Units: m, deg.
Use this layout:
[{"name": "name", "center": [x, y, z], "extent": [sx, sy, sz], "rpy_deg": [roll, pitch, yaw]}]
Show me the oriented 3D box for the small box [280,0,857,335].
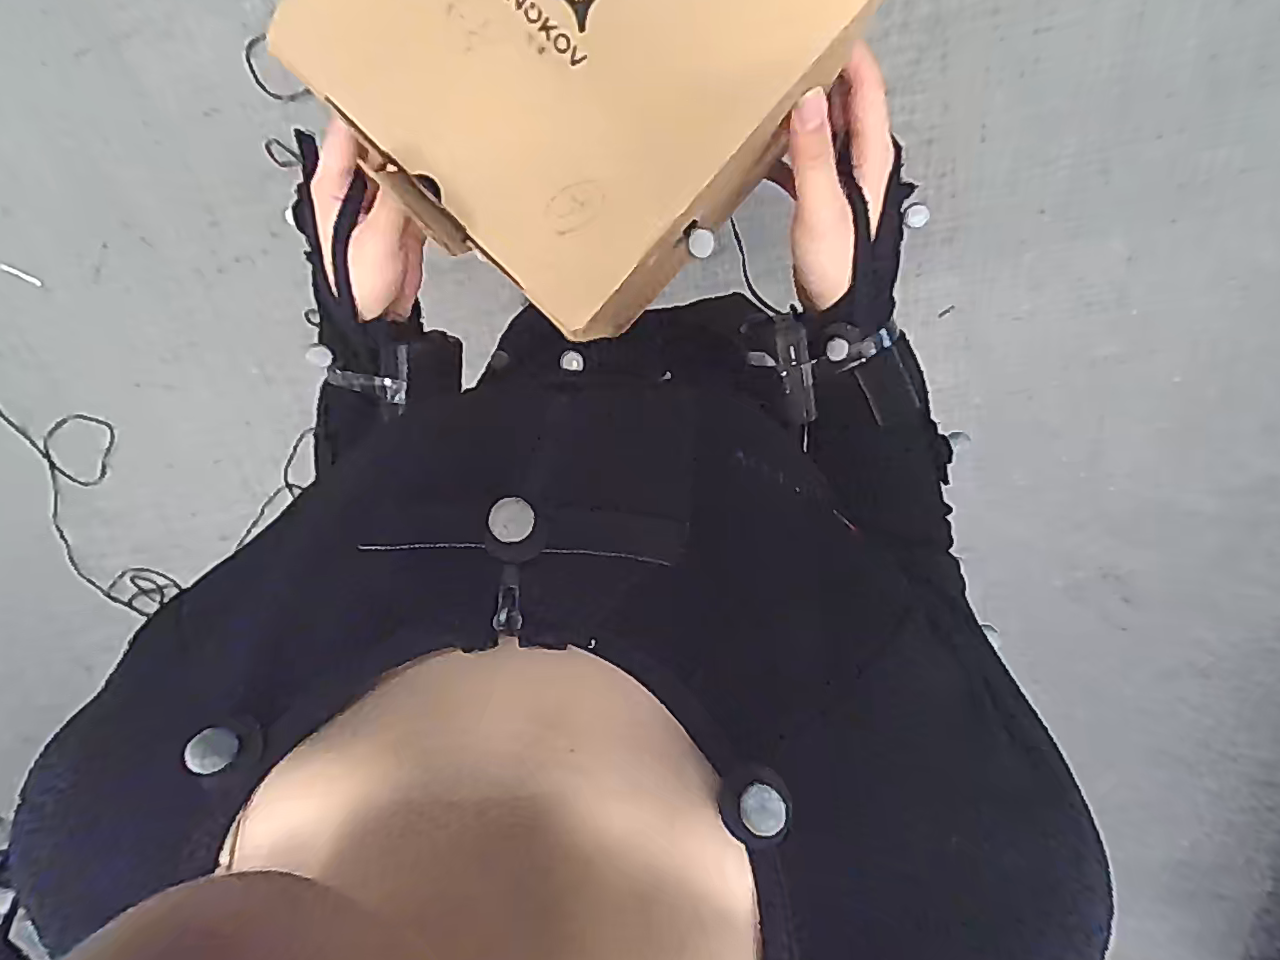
[{"name": "small box", "center": [-0.025, -0.197, 0.284], "extent": [0.168, 0.176, 0.179], "rpy_deg": [43, 105, -7]}]
